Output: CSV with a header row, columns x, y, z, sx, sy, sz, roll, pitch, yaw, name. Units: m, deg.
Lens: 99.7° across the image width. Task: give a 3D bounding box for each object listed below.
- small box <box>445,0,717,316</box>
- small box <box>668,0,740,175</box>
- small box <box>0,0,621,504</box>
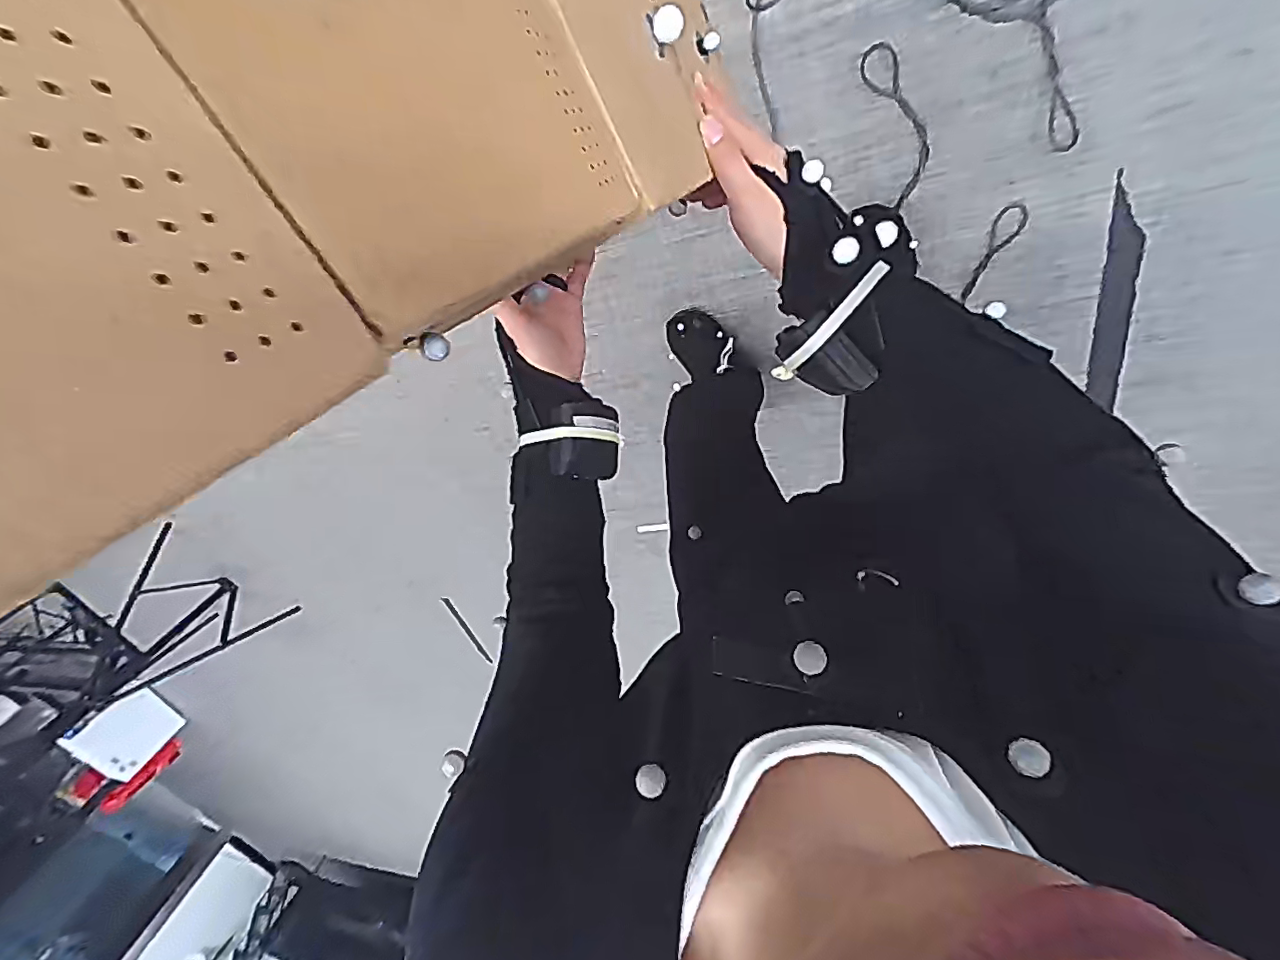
x,y,z,sx,sy,sz,roll,pitch,yaw,name
-0.077,-0.207,0.299,0.179,0.176,0.168,-15,118,29,small box
-0.031,-0.303,0.424,0.179,0.176,0.168,-13,118,29,small box
-0.133,-0.124,0.171,0.168,0.176,0.179,-16,118,31,small box
